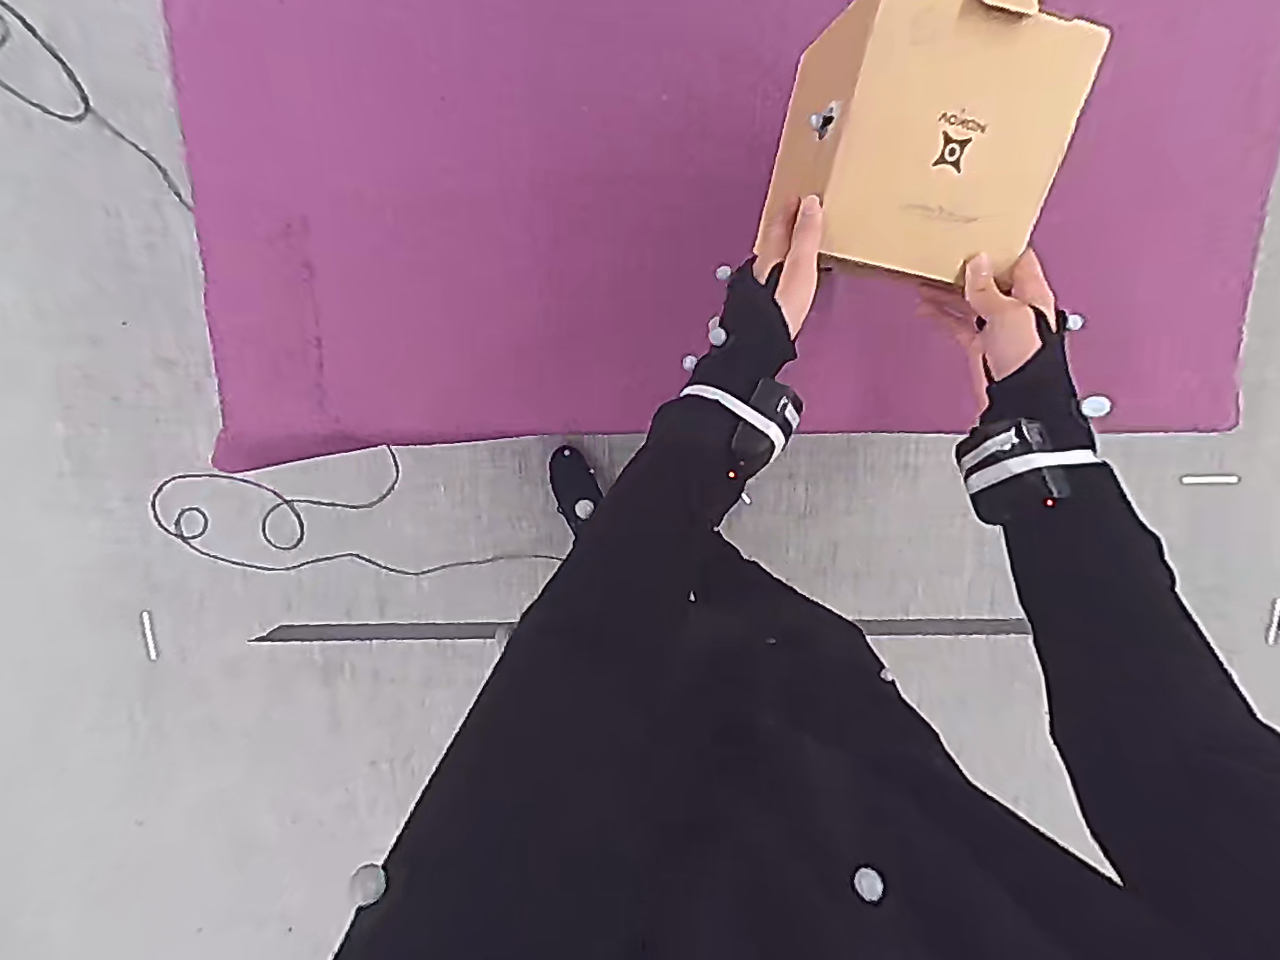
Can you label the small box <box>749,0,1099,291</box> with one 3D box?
[{"bbox_3d":[0.204,-0.266,0.450,0.168,0.176,0.179,9,110,-7],"label":"small box"}]
